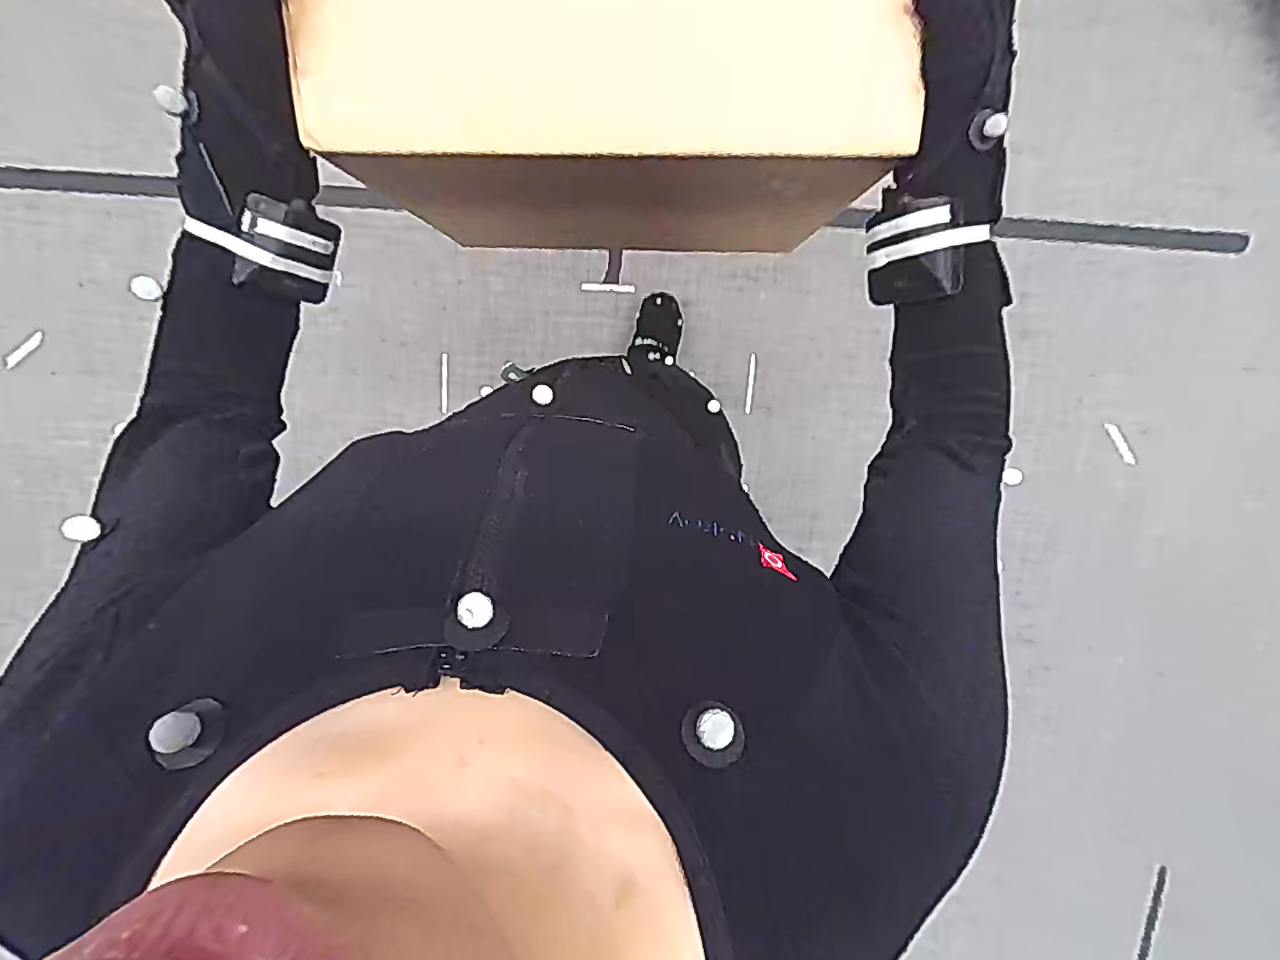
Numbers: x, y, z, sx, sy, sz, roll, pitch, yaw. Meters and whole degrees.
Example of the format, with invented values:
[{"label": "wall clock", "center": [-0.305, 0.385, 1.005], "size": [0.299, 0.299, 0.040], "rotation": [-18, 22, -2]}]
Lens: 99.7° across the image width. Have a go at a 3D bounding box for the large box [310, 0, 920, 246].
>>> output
[{"label": "large box", "center": [-0.016, -0.409, 0.482], "size": [0.408, 0.320, 0.320], "rotation": [1, 102, 0]}]
